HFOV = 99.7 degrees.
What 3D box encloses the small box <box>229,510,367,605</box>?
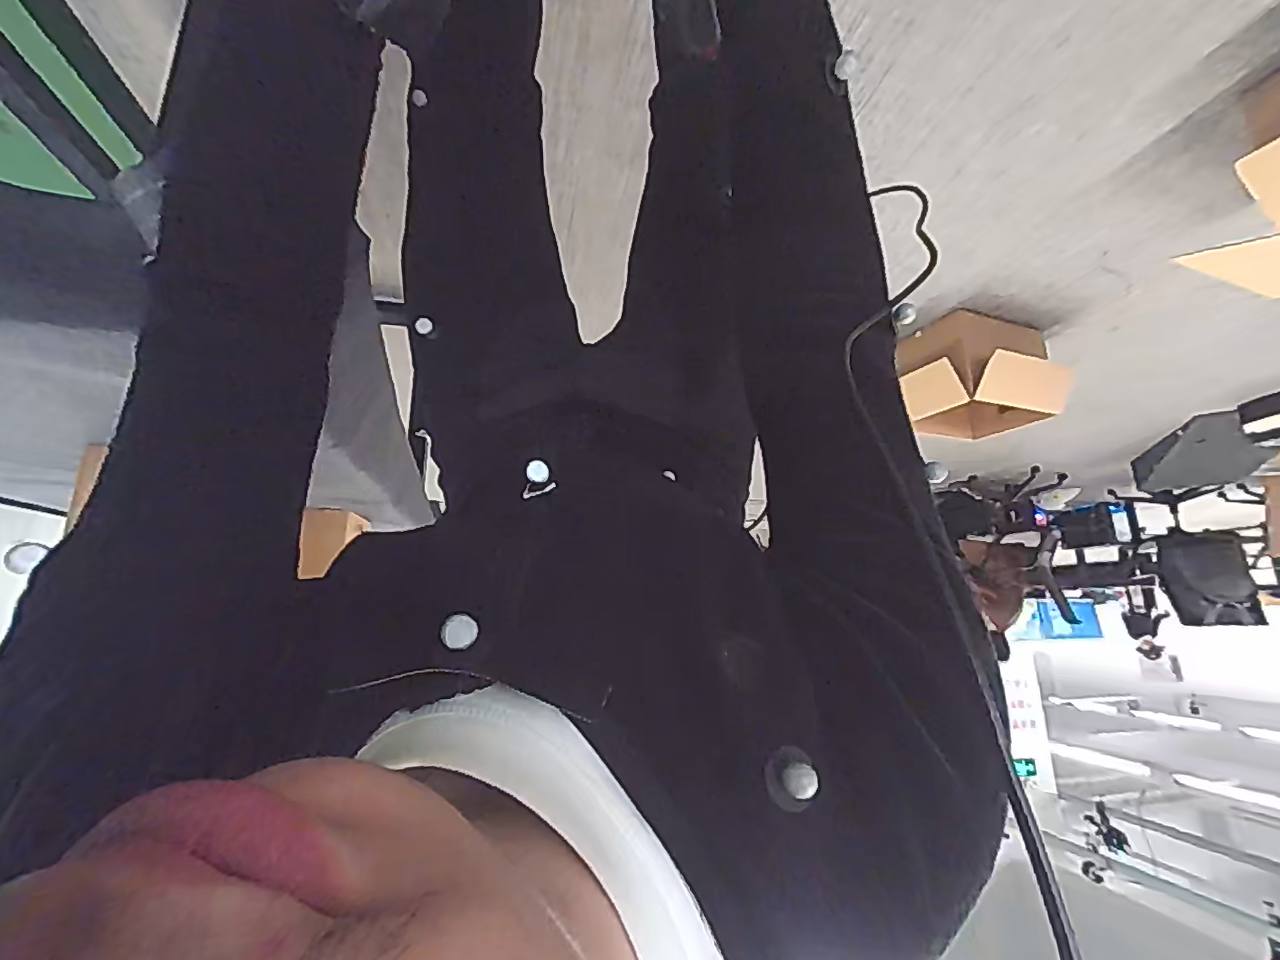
[{"bbox_3d":[-0.660,0.155,1.065,0.179,0.176,0.168,2,166,-11],"label":"small box"}]
